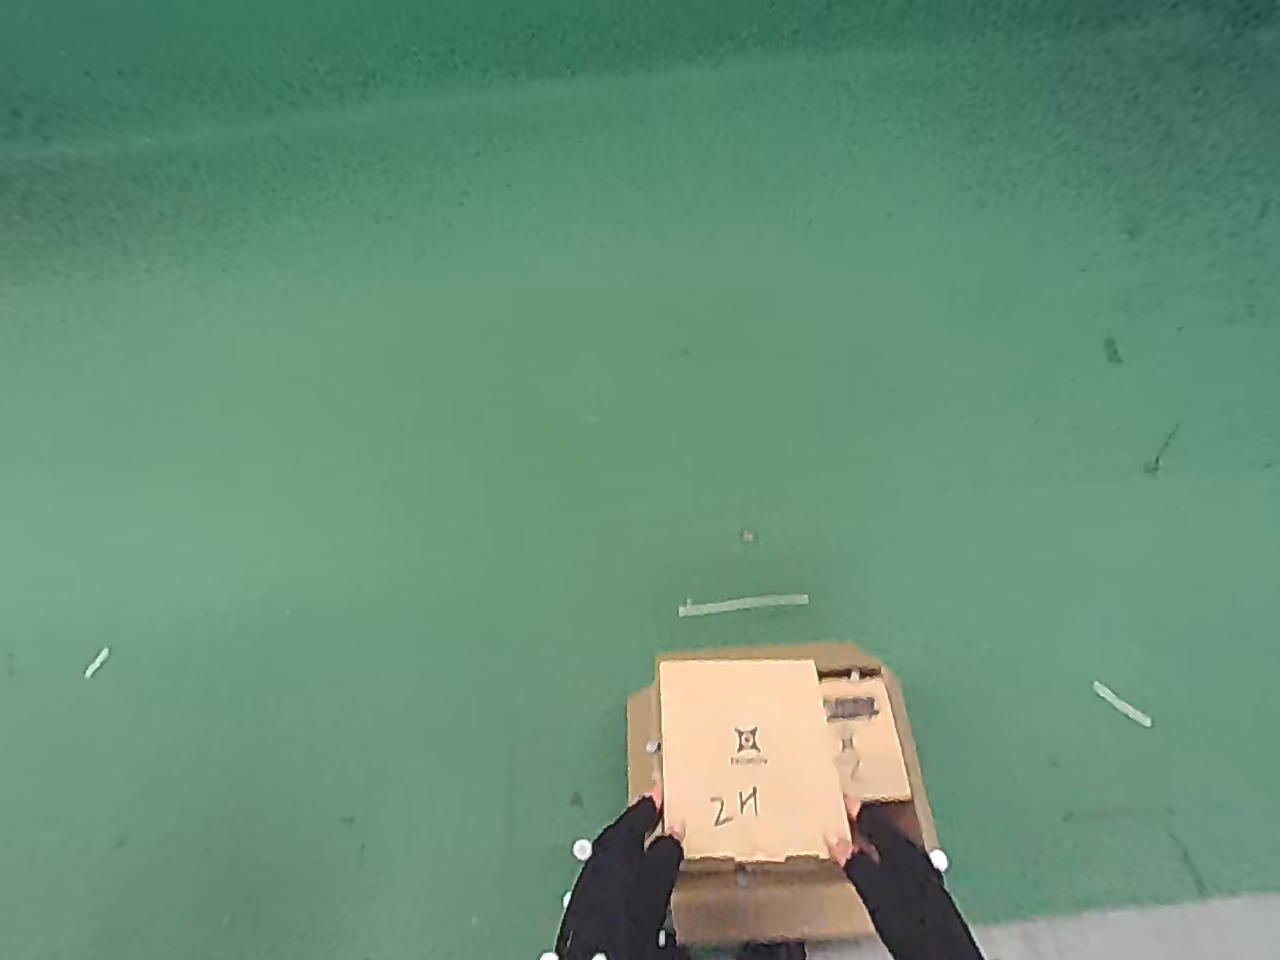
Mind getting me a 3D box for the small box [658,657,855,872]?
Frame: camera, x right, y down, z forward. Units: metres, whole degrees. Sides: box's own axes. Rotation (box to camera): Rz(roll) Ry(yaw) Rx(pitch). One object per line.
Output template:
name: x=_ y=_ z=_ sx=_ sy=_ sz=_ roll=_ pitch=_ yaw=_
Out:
small box: x=0.104 y=0.304 z=0.576 sx=0.168 sy=0.176 sz=0.179 roll=-1 pitch=52 yaw=1
